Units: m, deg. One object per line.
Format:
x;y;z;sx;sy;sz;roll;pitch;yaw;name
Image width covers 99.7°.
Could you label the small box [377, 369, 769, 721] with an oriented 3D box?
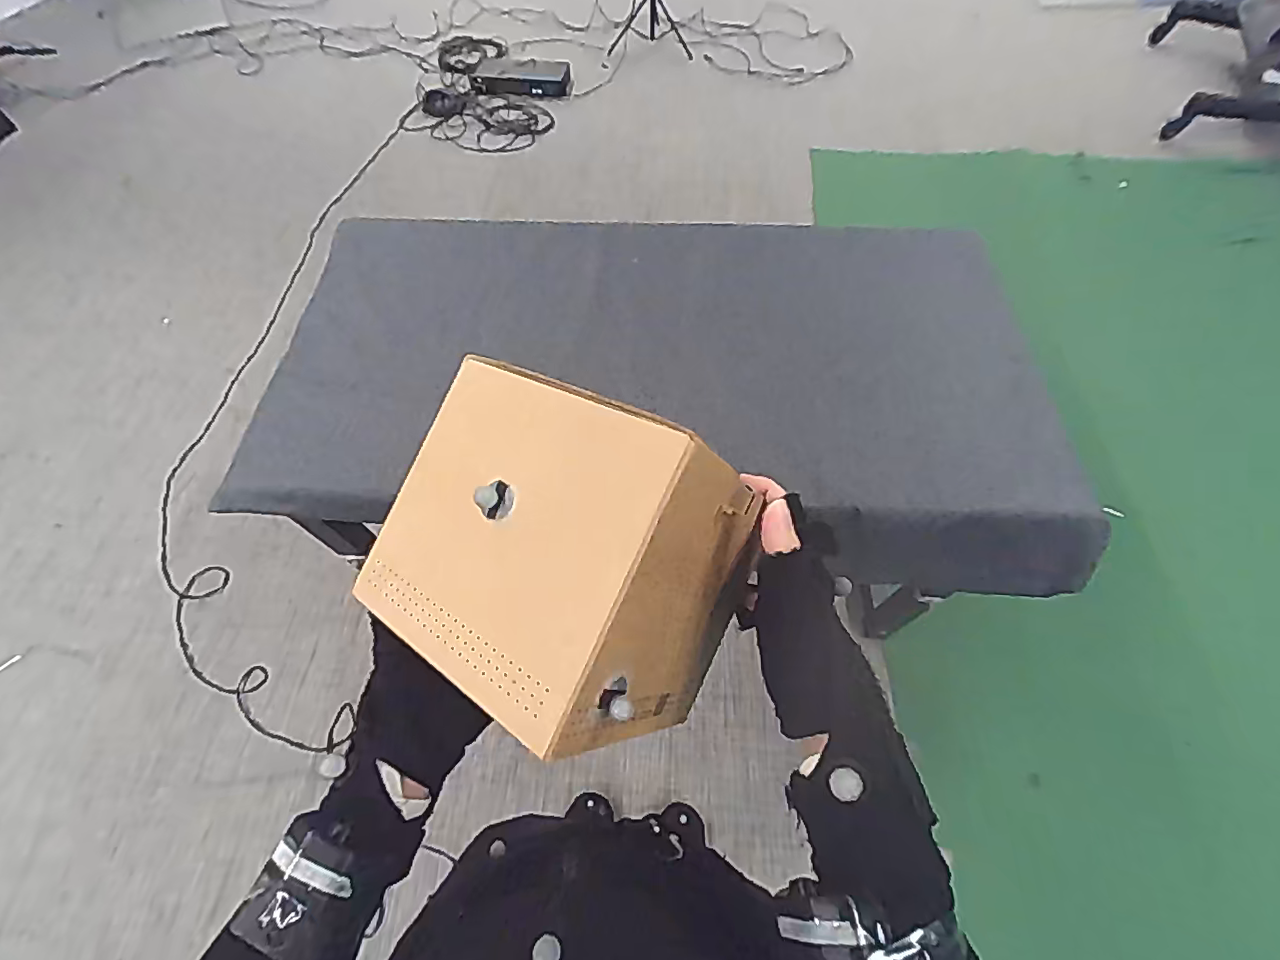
-0.040;0.049;0.377;0.179;0.168;0.176;22;86;31;small box
